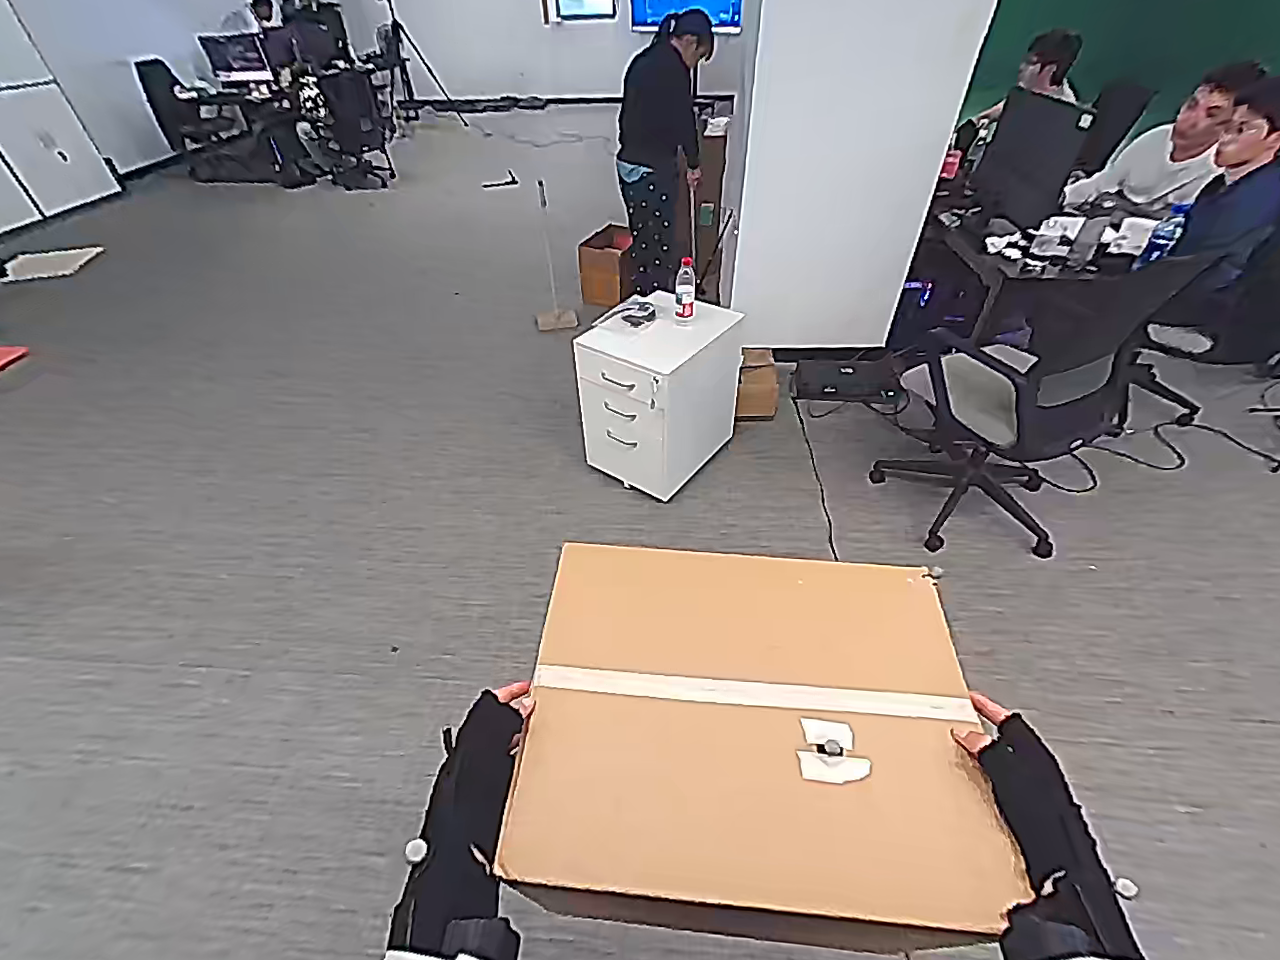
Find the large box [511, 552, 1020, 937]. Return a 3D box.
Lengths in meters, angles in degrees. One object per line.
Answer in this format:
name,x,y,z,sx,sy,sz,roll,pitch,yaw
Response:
large box,0.103,0.307,0.627,0.408,0.320,0.320,4,49,4
